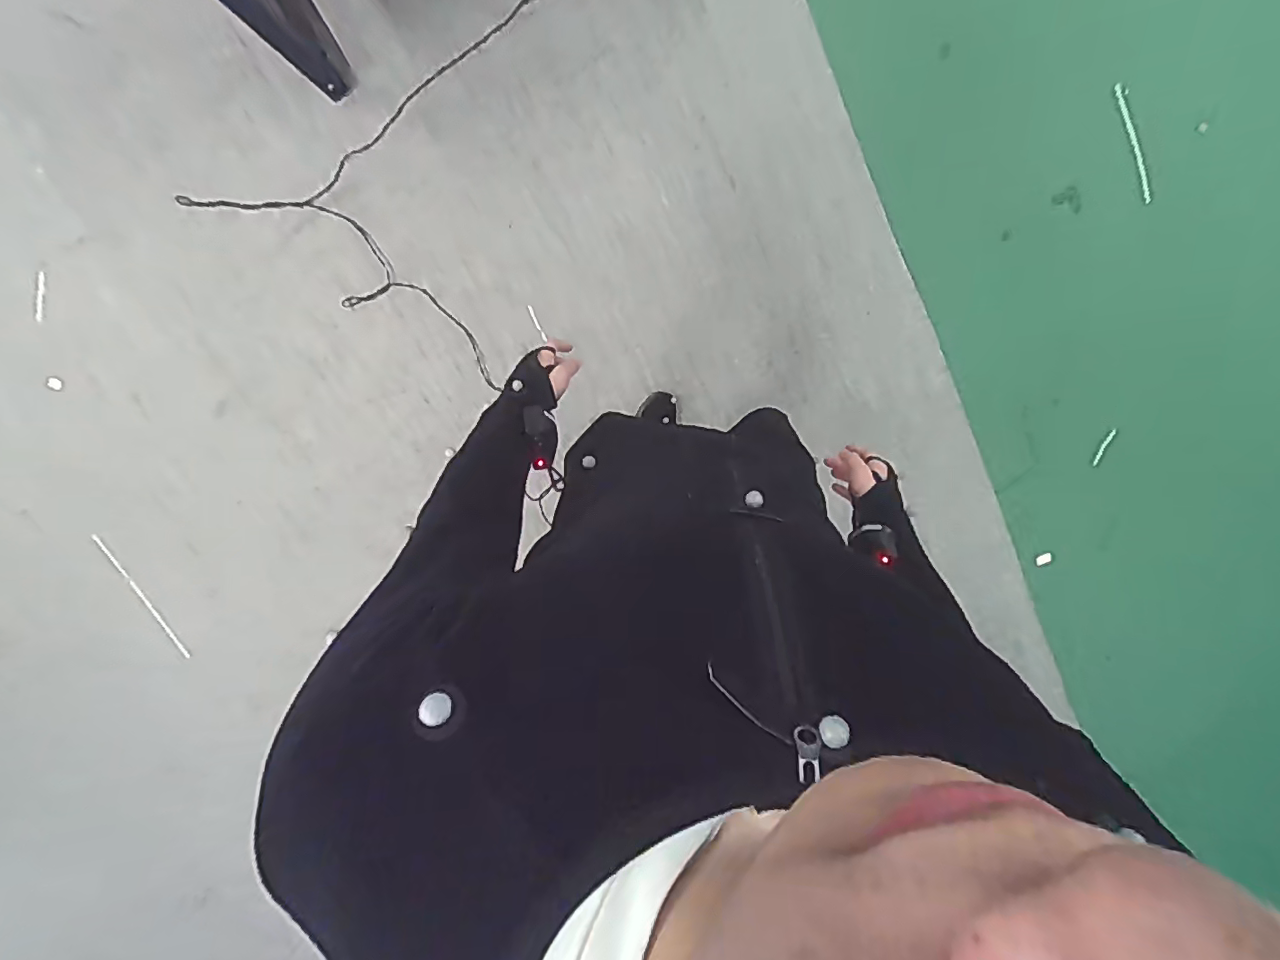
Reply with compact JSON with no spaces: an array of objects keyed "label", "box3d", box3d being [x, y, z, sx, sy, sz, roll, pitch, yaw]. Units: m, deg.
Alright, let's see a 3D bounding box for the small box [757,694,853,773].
[{"label":"small box","box3d":[0.394,0.633,1.257,0.179,0.176,0.168,-22,102,4]}]
